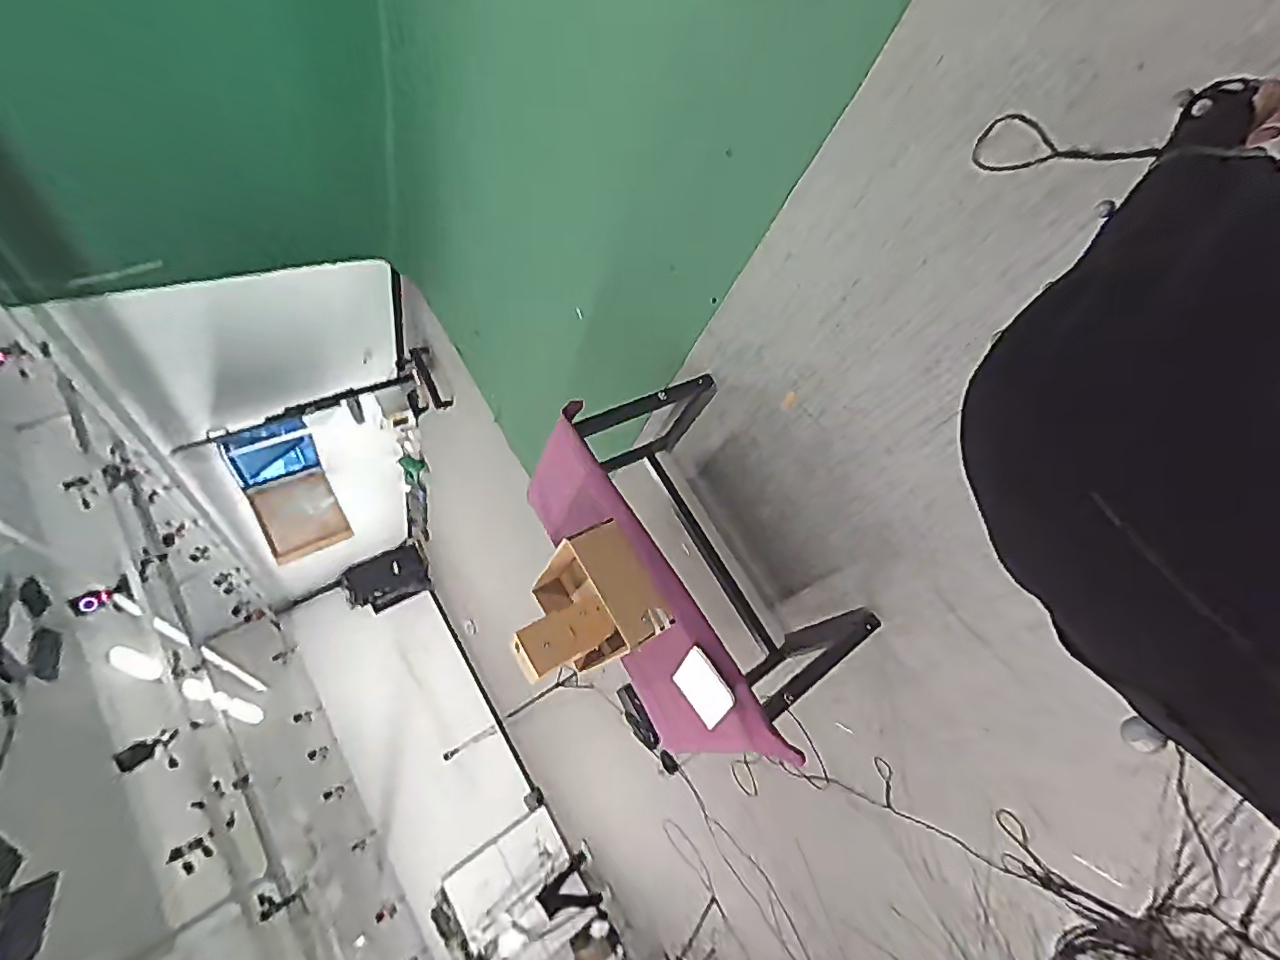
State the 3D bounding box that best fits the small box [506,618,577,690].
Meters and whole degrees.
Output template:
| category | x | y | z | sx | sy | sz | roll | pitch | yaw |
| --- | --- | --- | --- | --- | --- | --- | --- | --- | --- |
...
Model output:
| category | x | y | z | sx | sy | sz | roll | pitch | yaw |
| --- | --- | --- | --- | --- | --- | --- | --- | --- | --- |
| small box | -0.348 | 0.608 | 1.907 | 0.179 | 0.176 | 0.168 | 56 | 146 | 14 |
